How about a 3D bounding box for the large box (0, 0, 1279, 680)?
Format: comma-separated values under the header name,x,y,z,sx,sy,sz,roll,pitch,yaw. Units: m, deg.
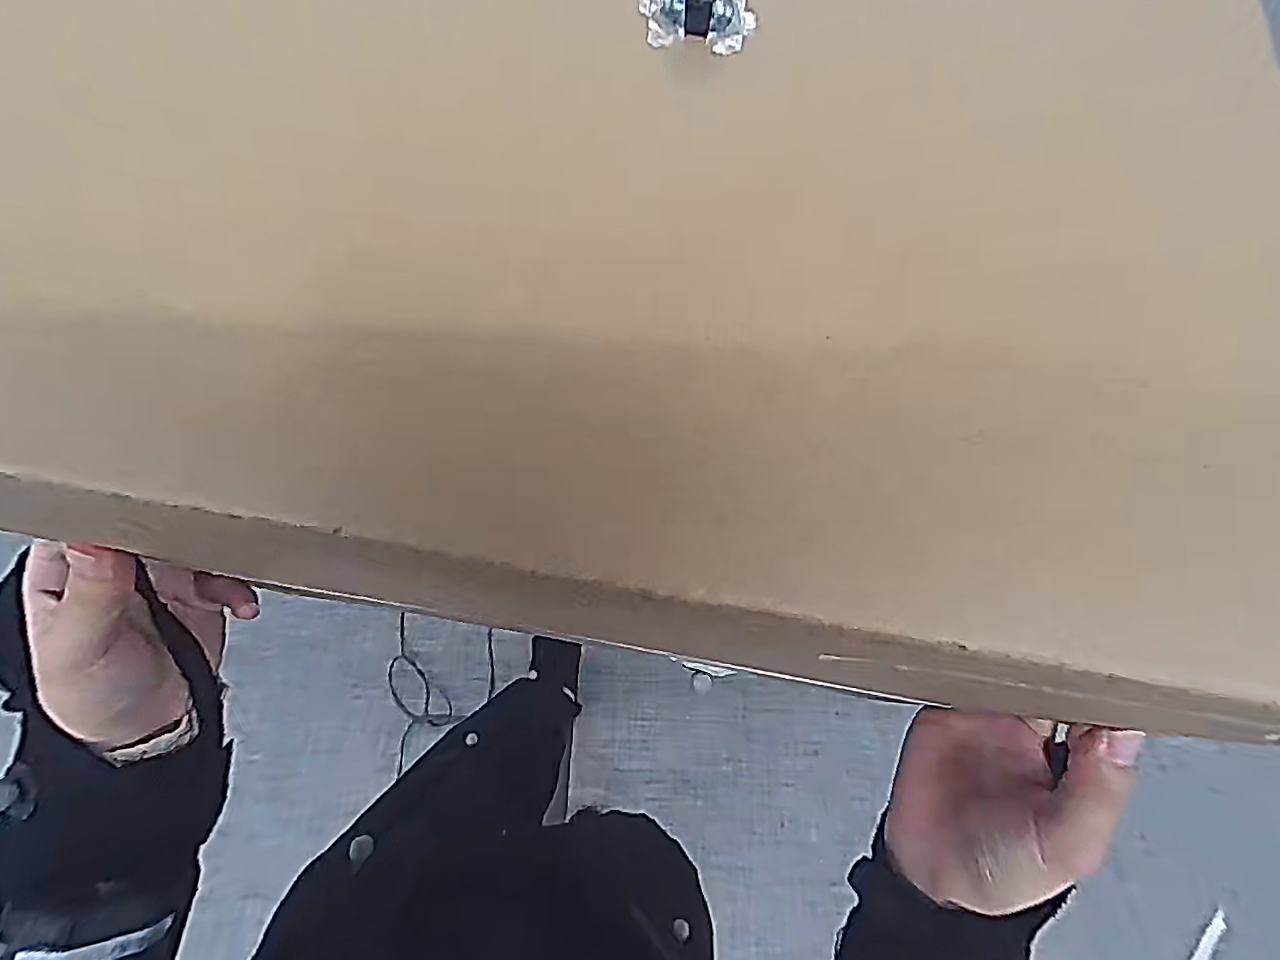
name,x,y,z,sx,sy,sz,roll,pitch,yaw
large box,-0.002,-0.088,0.300,0.408,0.320,0.320,10,72,-2
